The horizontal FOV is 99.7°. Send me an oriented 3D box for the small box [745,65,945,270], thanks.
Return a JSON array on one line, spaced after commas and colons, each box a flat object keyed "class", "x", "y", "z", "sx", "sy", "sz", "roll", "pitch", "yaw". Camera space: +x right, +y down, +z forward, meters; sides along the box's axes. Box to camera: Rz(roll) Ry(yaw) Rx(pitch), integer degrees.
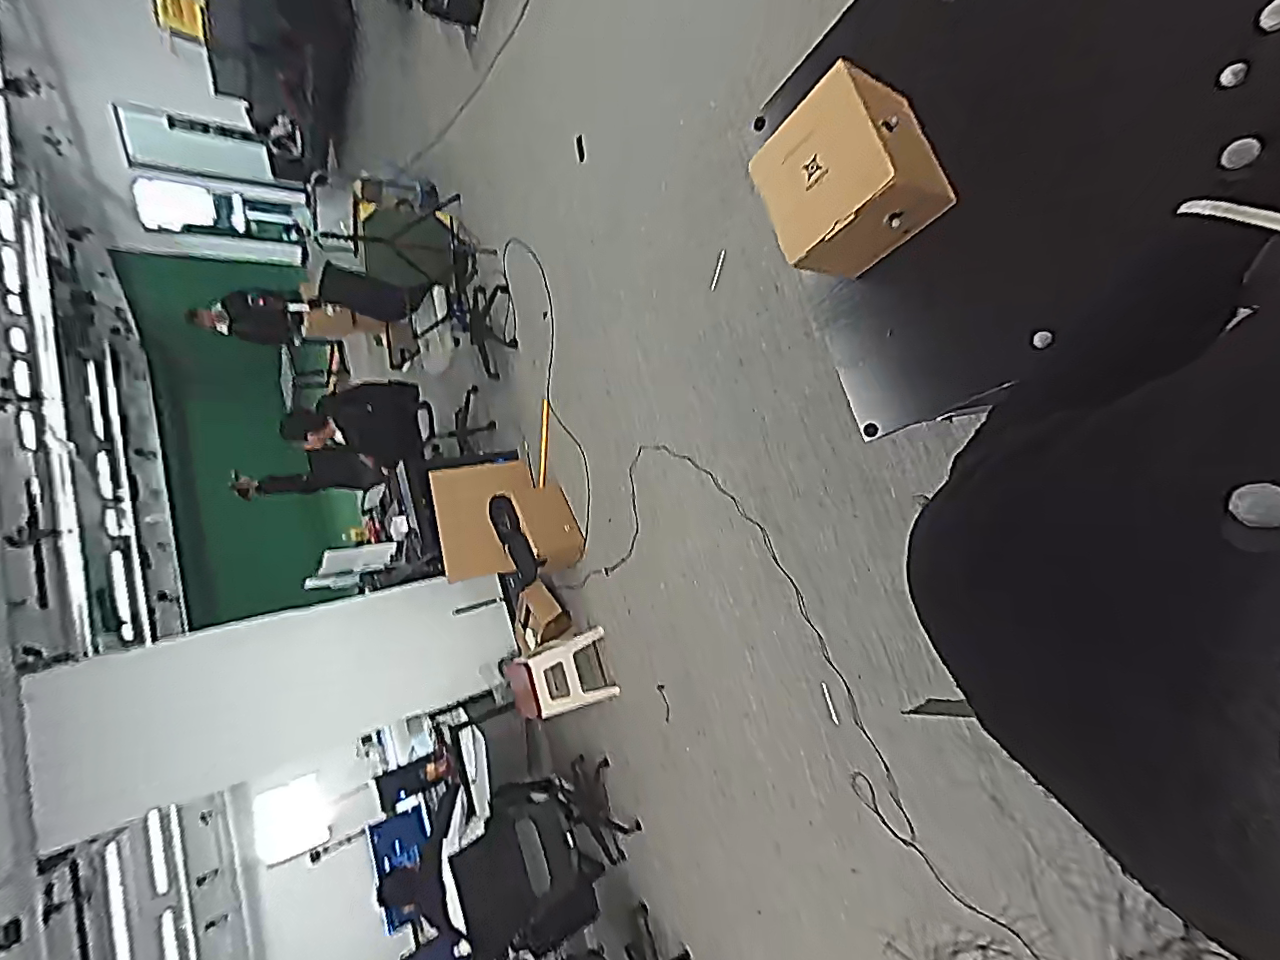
[{"class": "small box", "x": 0.284, "y": -0.413, "z": 0.751, "sx": 0.168, "sy": 0.176, "sz": 0.179, "roll": -32, "pitch": 72, "yaw": 49}]
